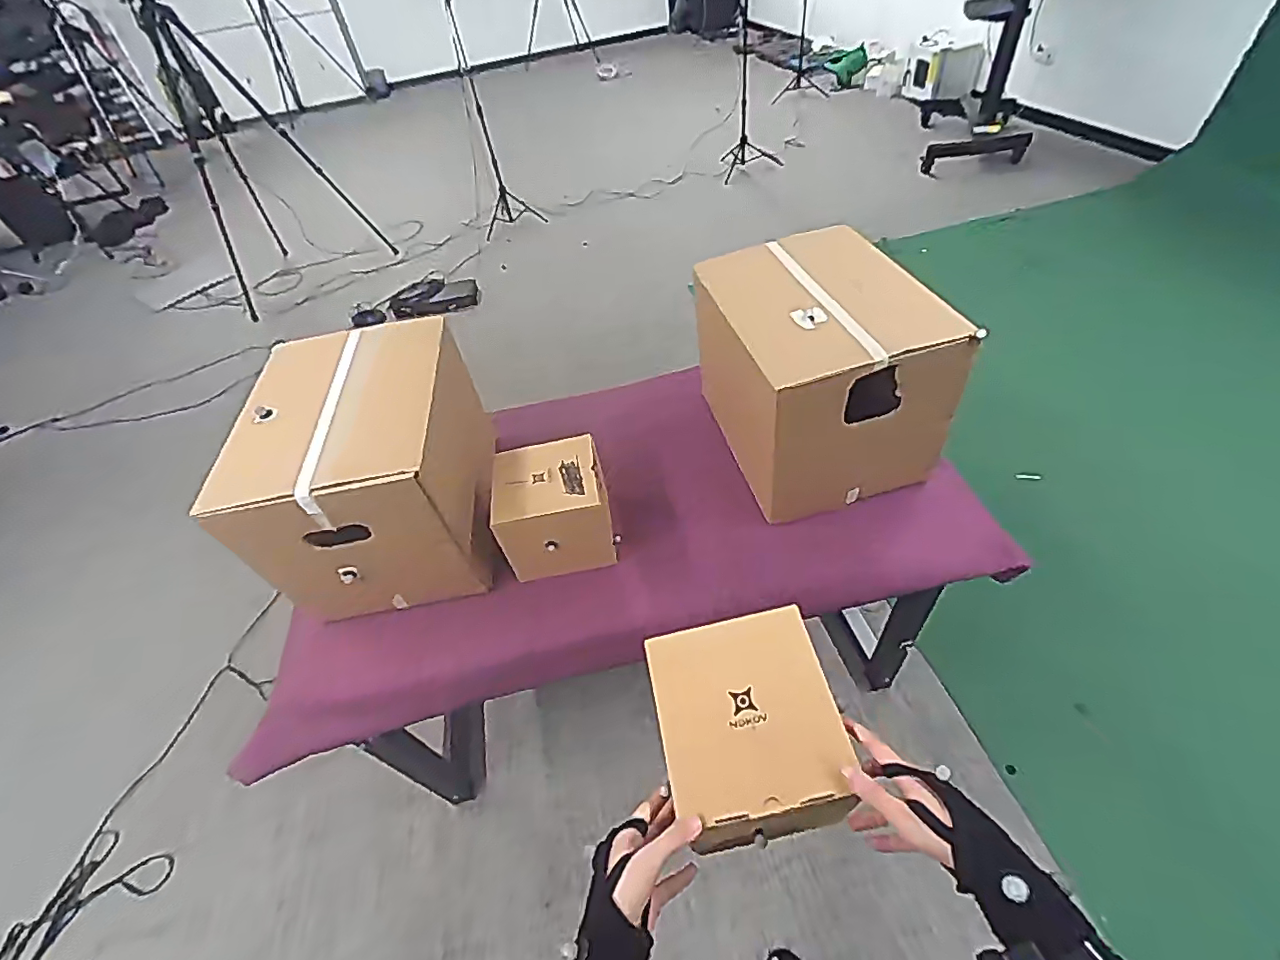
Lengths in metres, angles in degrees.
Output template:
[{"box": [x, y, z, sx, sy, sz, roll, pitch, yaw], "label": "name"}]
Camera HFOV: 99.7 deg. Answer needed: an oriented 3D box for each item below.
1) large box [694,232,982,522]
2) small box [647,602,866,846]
[{"box": [0.313, -0.196, 0.998, 0.320, 0.320, 0.408, -16, 48, -2], "label": "large box"}, {"box": [0.109, 0.258, 0.569, 0.168, 0.176, 0.179, -14, 50, 1], "label": "small box"}]
